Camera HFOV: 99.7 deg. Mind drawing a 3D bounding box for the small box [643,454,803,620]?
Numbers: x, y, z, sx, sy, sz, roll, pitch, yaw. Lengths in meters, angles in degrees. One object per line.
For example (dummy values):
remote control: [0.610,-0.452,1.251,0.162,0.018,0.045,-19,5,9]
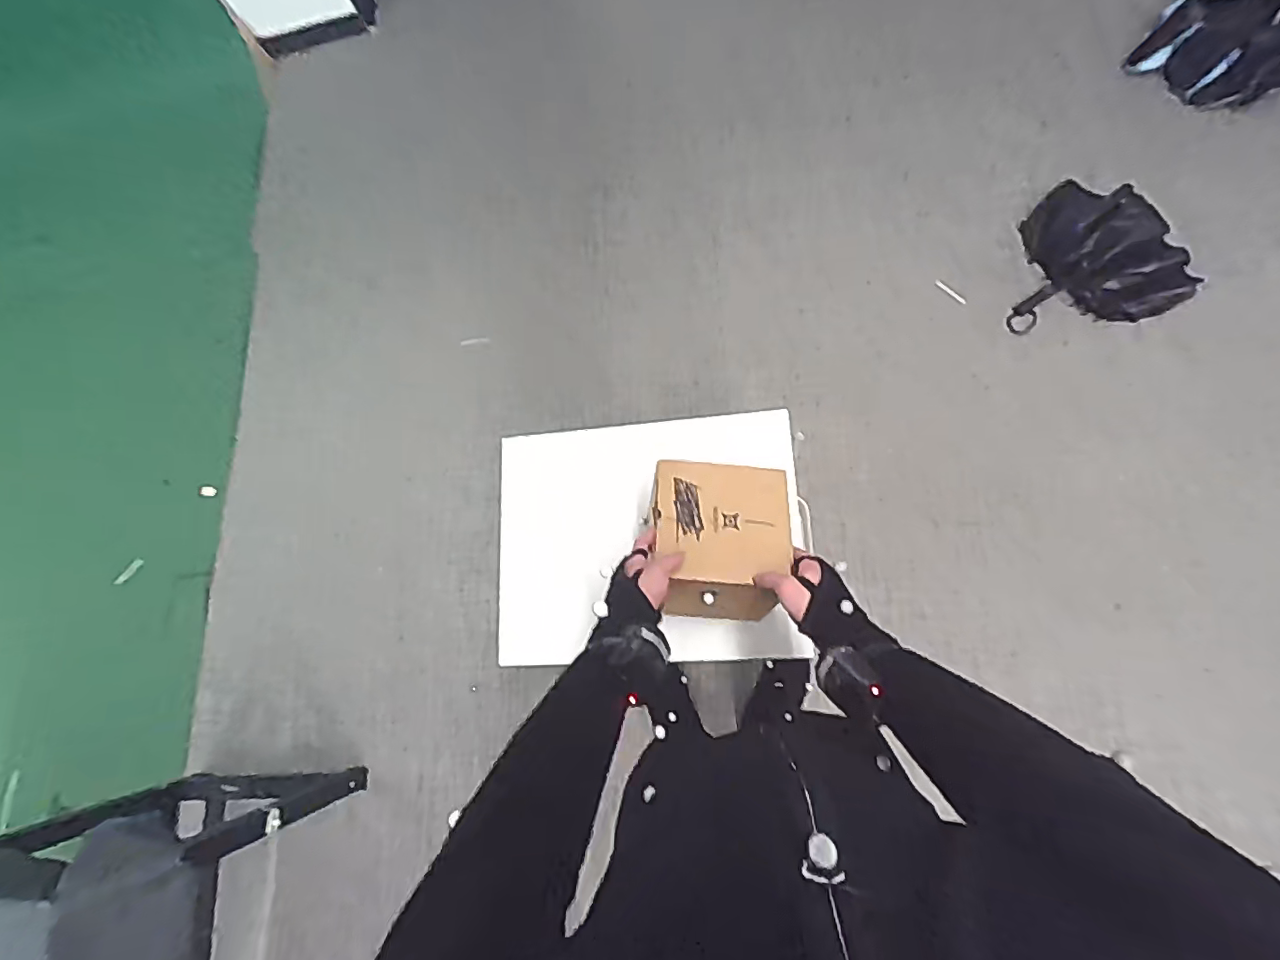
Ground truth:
small box: [0.100,0.084,0.733,0.179,0.176,0.168,6,60,-5]
